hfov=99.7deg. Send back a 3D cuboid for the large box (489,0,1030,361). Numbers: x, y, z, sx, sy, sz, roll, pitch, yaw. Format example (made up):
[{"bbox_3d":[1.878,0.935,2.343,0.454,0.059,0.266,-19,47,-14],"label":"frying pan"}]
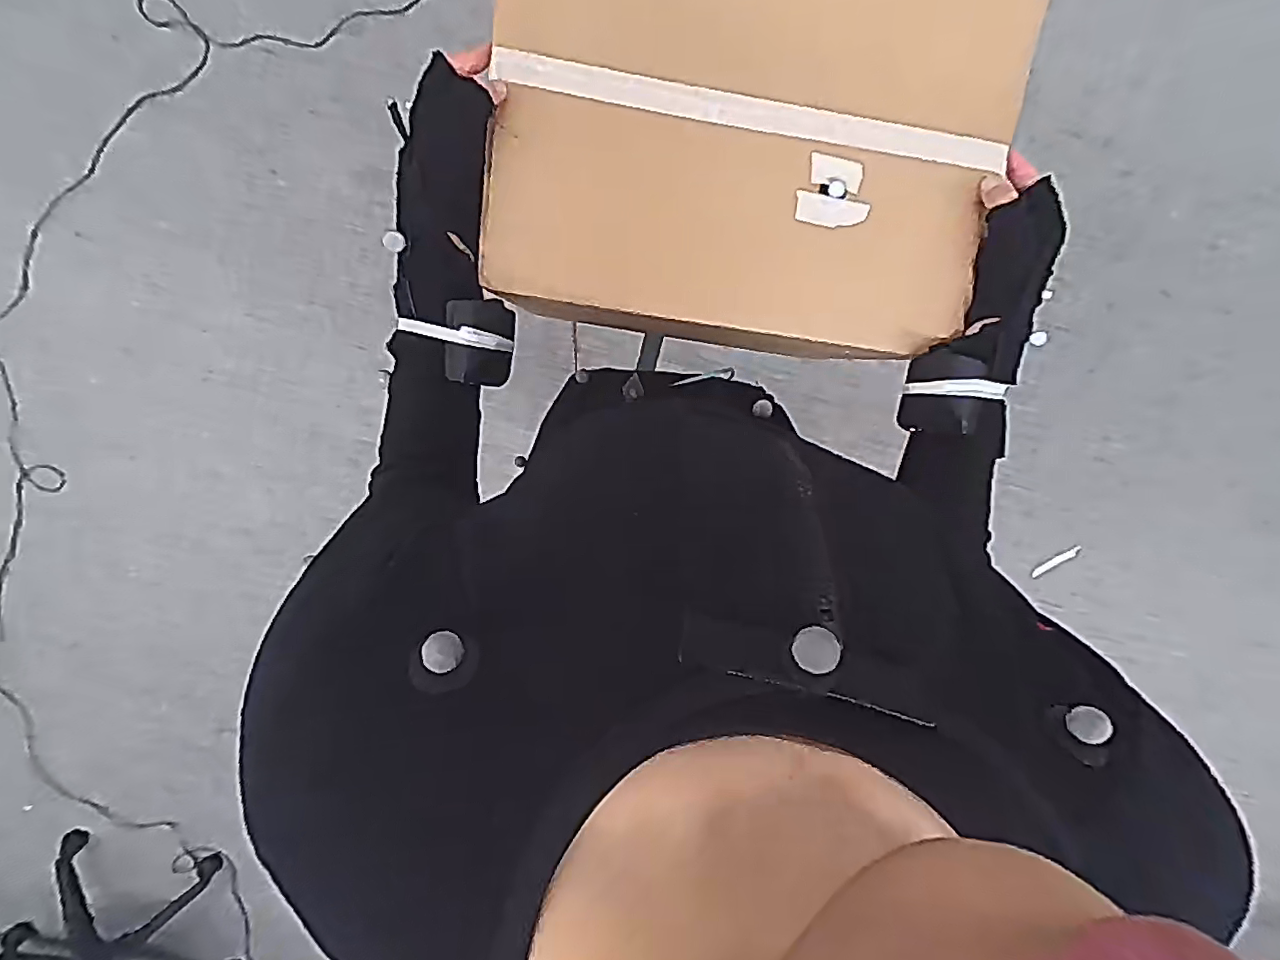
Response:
[{"bbox_3d":[0.078,-0.309,0.571,0.408,0.320,0.320,7,104,-6],"label":"large box"}]
